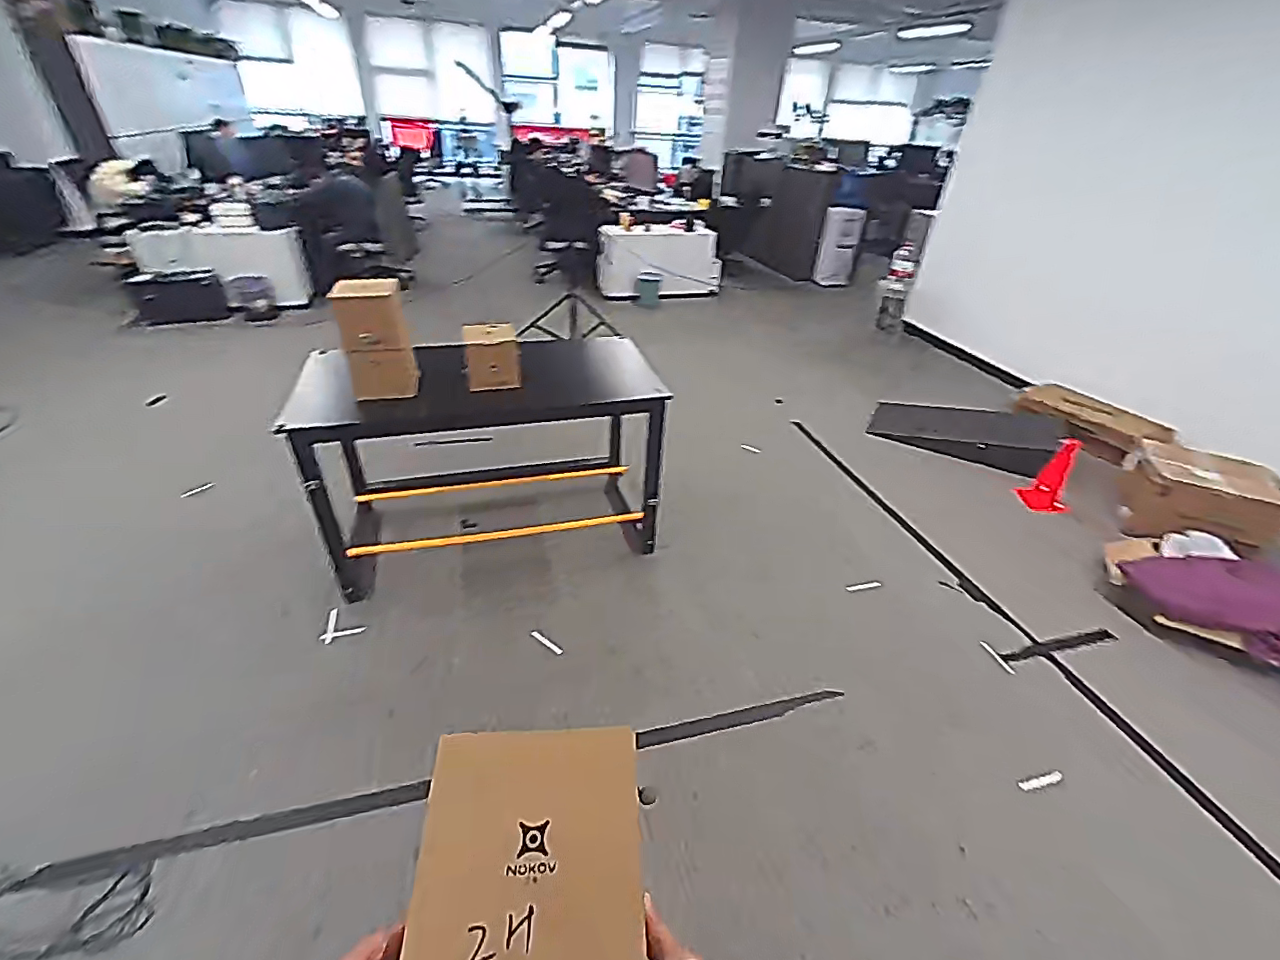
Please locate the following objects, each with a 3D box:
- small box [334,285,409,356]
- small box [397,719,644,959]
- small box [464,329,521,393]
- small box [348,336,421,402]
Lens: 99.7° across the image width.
[{"bbox_3d":[-0.818,-0.493,1.667,0.168,0.176,0.179,-8,37,-14],"label":"small box"},{"bbox_3d":[-0.087,0.326,0.463,0.168,0.176,0.179,-1,47,-5],"label":"small box"},{"bbox_3d":[-0.506,-0.407,1.861,0.168,0.176,0.179,-8,36,-16],"label":"small box"},{"bbox_3d":[-0.825,-0.360,1.760,0.179,0.176,0.168,-5,35,-15],"label":"small box"}]
